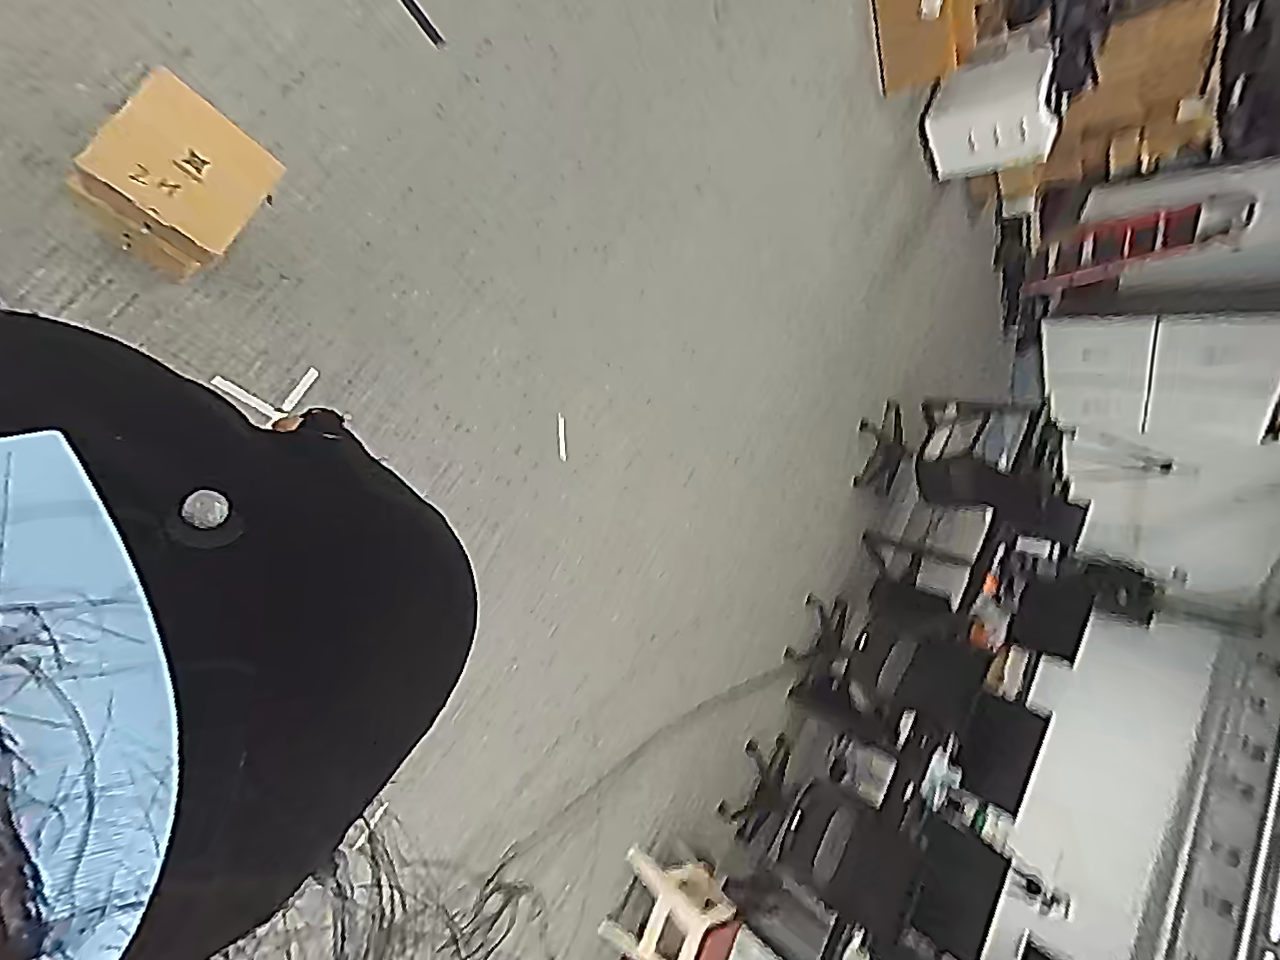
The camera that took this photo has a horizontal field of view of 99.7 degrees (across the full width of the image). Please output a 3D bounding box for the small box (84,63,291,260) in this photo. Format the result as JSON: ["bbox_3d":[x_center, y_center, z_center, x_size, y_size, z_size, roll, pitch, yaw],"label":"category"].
[{"bbox_3d":[-0.664,-0.453,0.799,0.168,0.176,0.179,39,75,-42],"label":"small box"}]

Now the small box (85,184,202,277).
[{"bbox_3d":[-0.896,-0.512,1.026,0.168,0.176,0.179,44,70,-42],"label":"small box"}]
